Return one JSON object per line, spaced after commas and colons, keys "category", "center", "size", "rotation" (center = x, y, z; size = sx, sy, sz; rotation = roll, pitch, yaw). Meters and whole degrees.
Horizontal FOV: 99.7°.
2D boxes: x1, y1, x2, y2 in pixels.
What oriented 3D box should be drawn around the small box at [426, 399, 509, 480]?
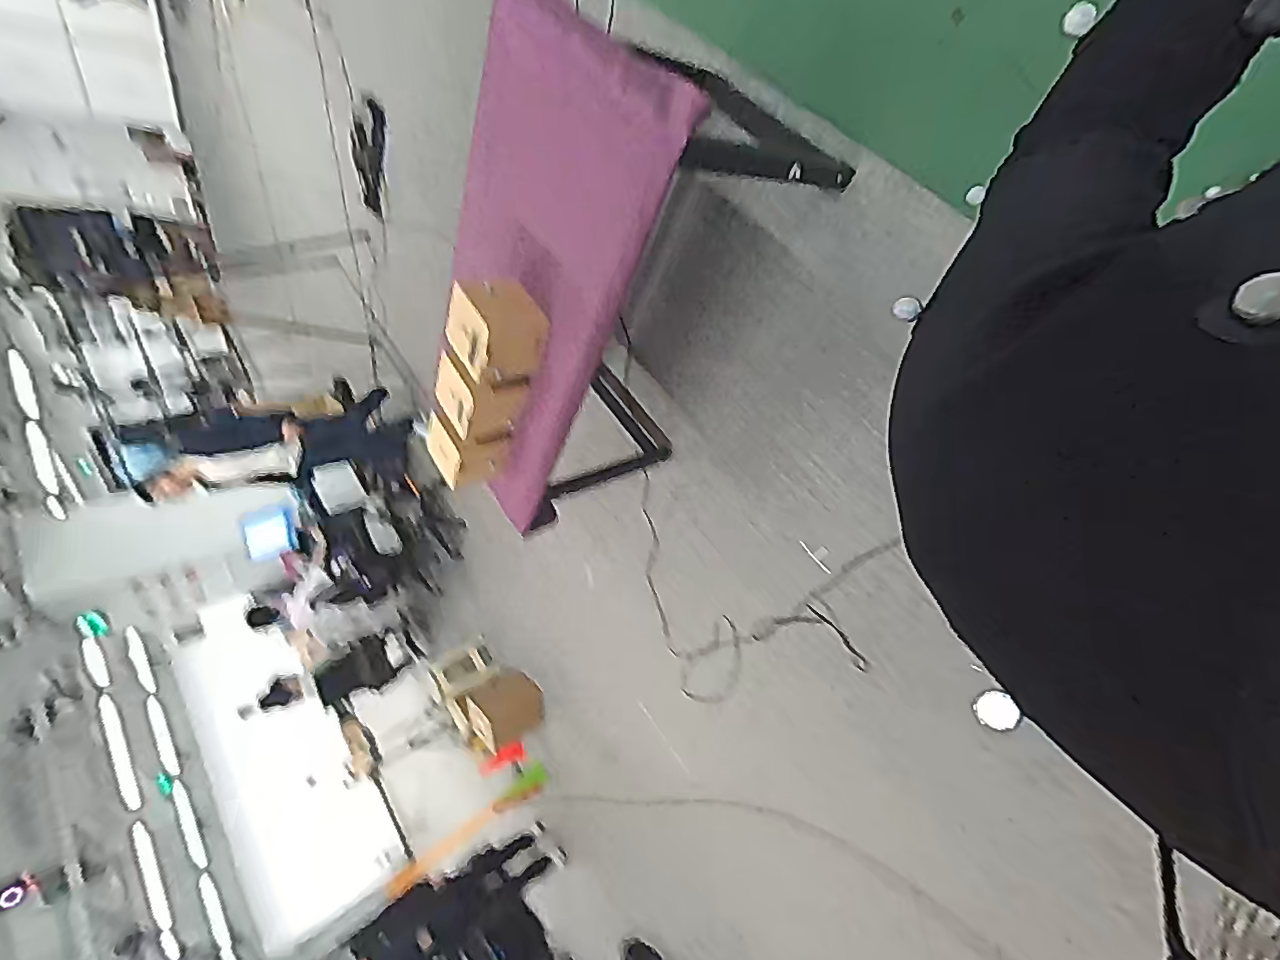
{"category": "small box", "center": [-0.524, -0.129, 1.638], "size": [0.179, 0.176, 0.168], "rotation": [53, 138, 20]}
